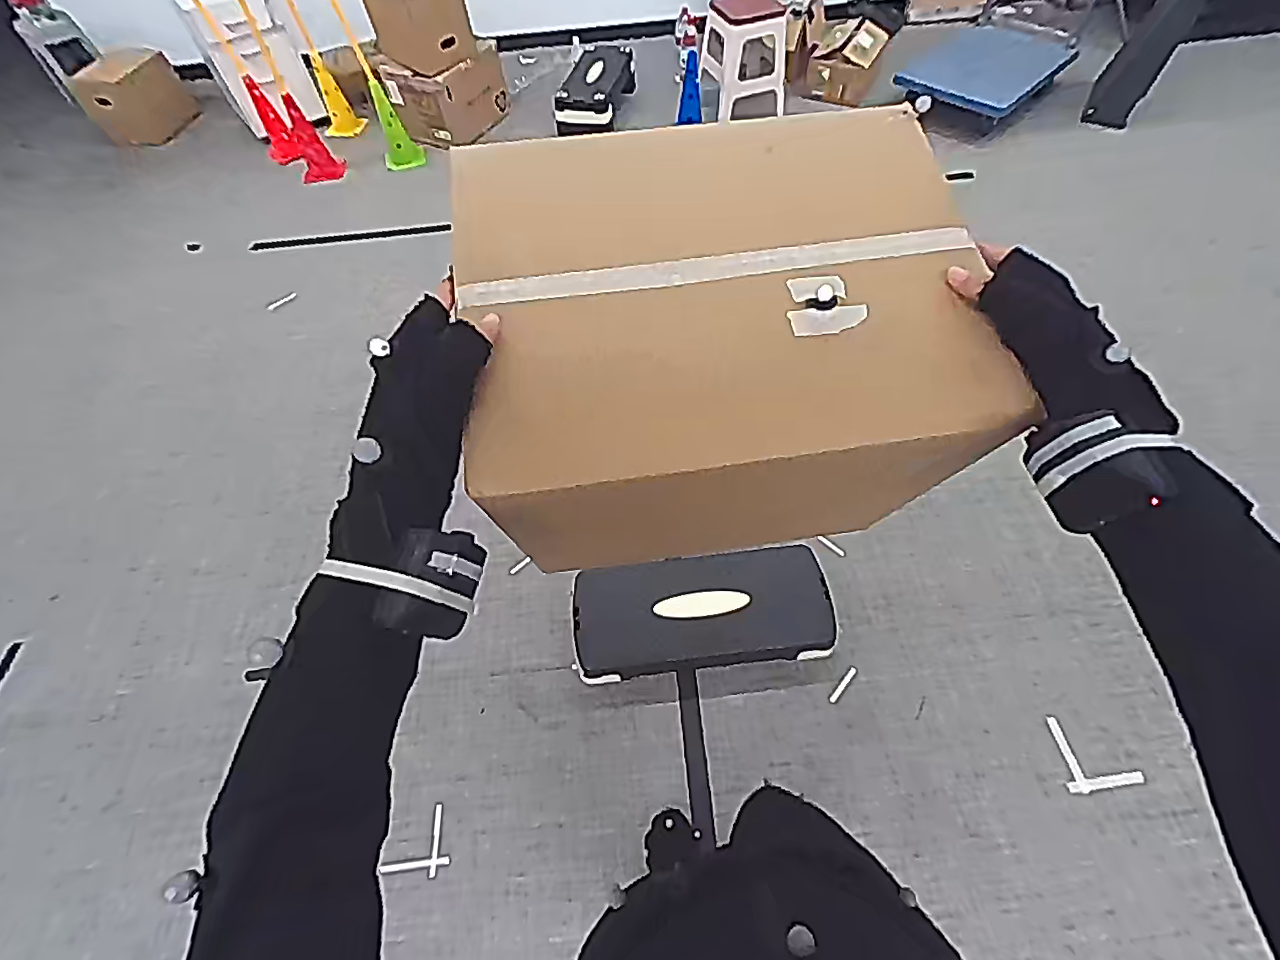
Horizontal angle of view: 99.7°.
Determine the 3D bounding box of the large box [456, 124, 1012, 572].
[{"bbox_3d":[0.055,-0.107,0.574,0.408,0.320,0.320,-8,71,-4],"label":"large box"}]
